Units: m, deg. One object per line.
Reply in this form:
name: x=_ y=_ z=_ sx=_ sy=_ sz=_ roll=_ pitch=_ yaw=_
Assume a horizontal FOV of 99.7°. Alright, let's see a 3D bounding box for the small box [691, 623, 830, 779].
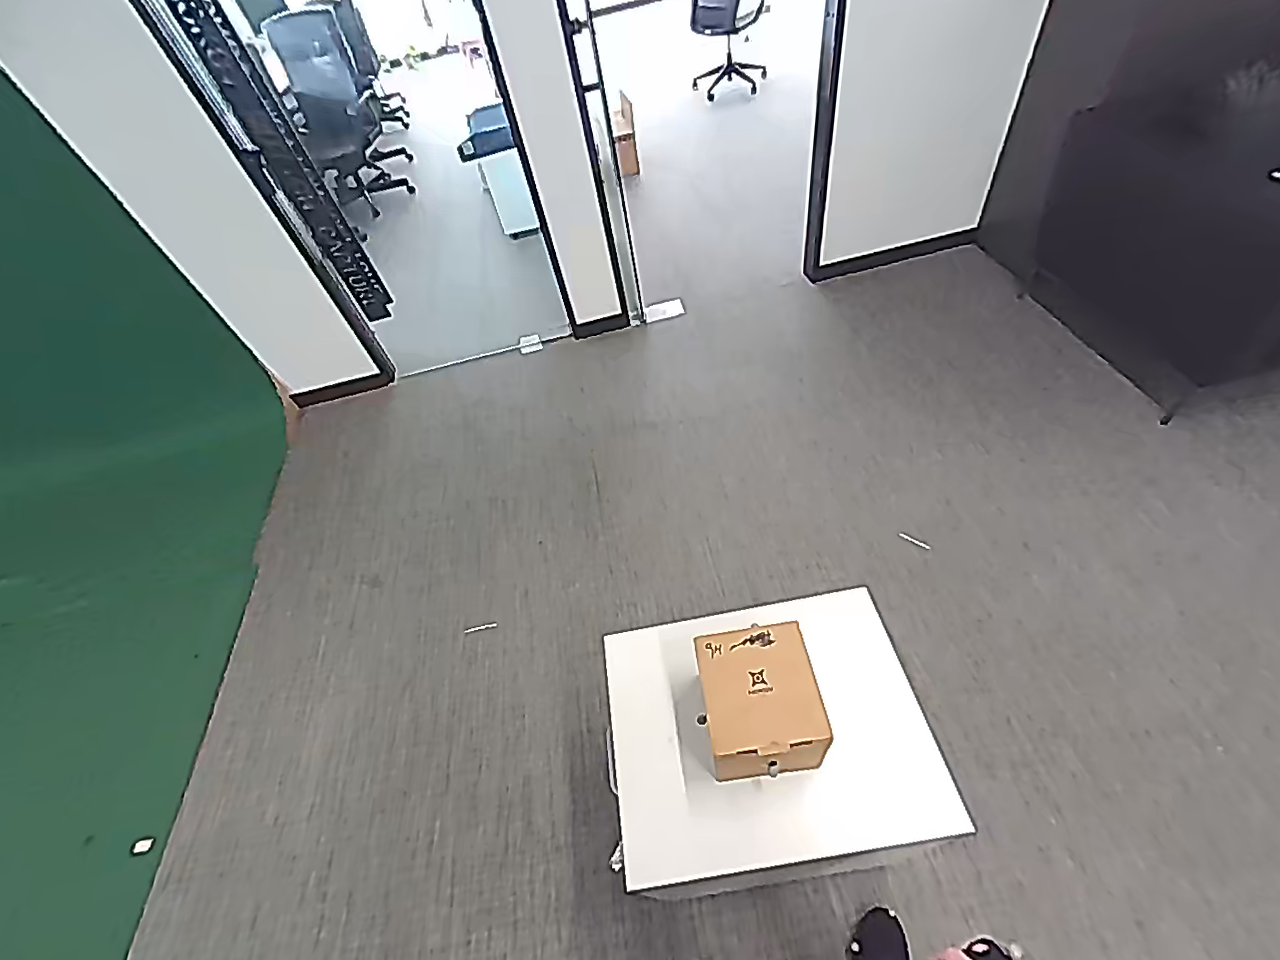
small box: x=0.181 y=0.352 z=0.846 sx=0.168 sy=0.176 sz=0.179 roll=-12 pitch=49 yaw=1
